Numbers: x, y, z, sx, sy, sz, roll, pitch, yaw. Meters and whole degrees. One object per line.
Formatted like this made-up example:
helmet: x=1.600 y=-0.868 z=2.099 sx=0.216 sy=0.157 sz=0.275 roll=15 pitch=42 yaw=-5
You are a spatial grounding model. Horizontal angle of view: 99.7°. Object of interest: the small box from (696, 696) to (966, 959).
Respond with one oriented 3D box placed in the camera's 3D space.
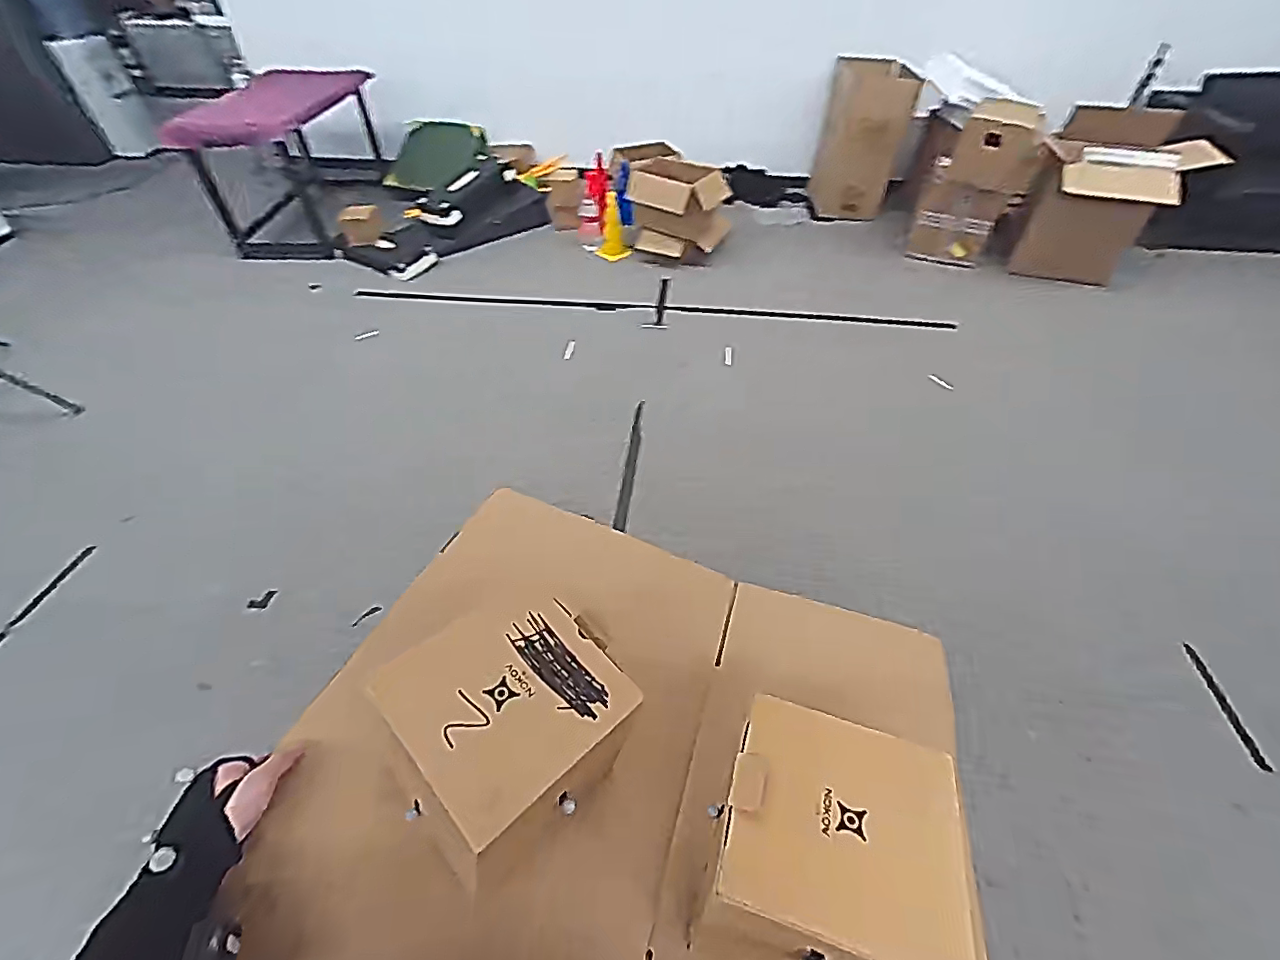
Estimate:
small box: x=0.158 y=0.334 z=0.486 sx=0.179 sy=0.176 sz=0.168 roll=13 pitch=40 yaw=13
